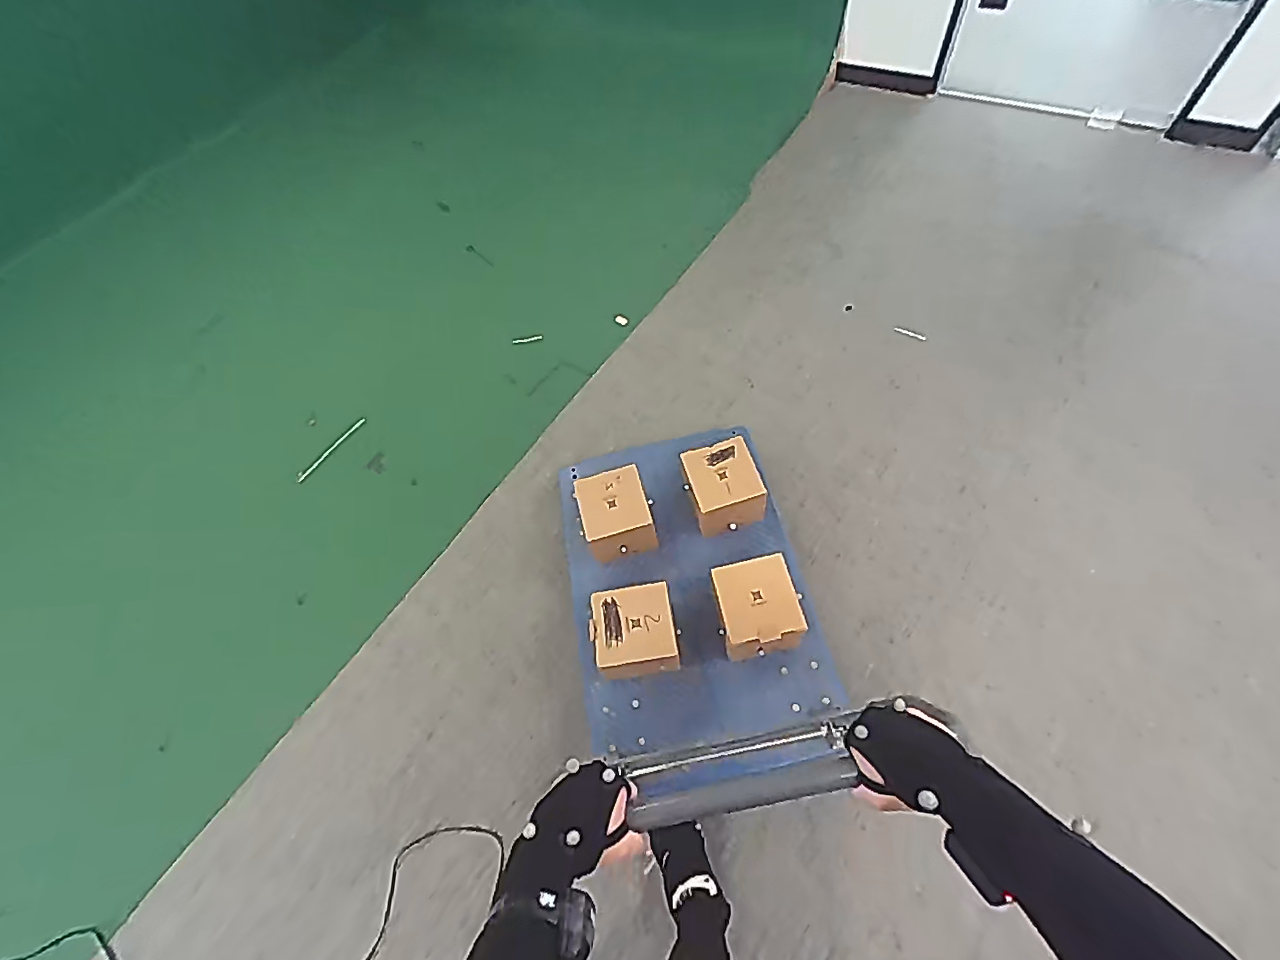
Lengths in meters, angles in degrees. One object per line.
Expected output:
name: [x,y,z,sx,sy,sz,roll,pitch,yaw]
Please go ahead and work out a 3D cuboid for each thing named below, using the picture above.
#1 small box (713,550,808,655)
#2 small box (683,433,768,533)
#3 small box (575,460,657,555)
small box: [0.265,0.284,1.237,0.168,0.176,0.179,-13,61,1]
small box: [0.214,0.011,1.391,0.168,0.176,0.179,-17,62,-1]
small box: [-0.057,0.080,1.391,0.168,0.176,0.179,-15,61,-2]
